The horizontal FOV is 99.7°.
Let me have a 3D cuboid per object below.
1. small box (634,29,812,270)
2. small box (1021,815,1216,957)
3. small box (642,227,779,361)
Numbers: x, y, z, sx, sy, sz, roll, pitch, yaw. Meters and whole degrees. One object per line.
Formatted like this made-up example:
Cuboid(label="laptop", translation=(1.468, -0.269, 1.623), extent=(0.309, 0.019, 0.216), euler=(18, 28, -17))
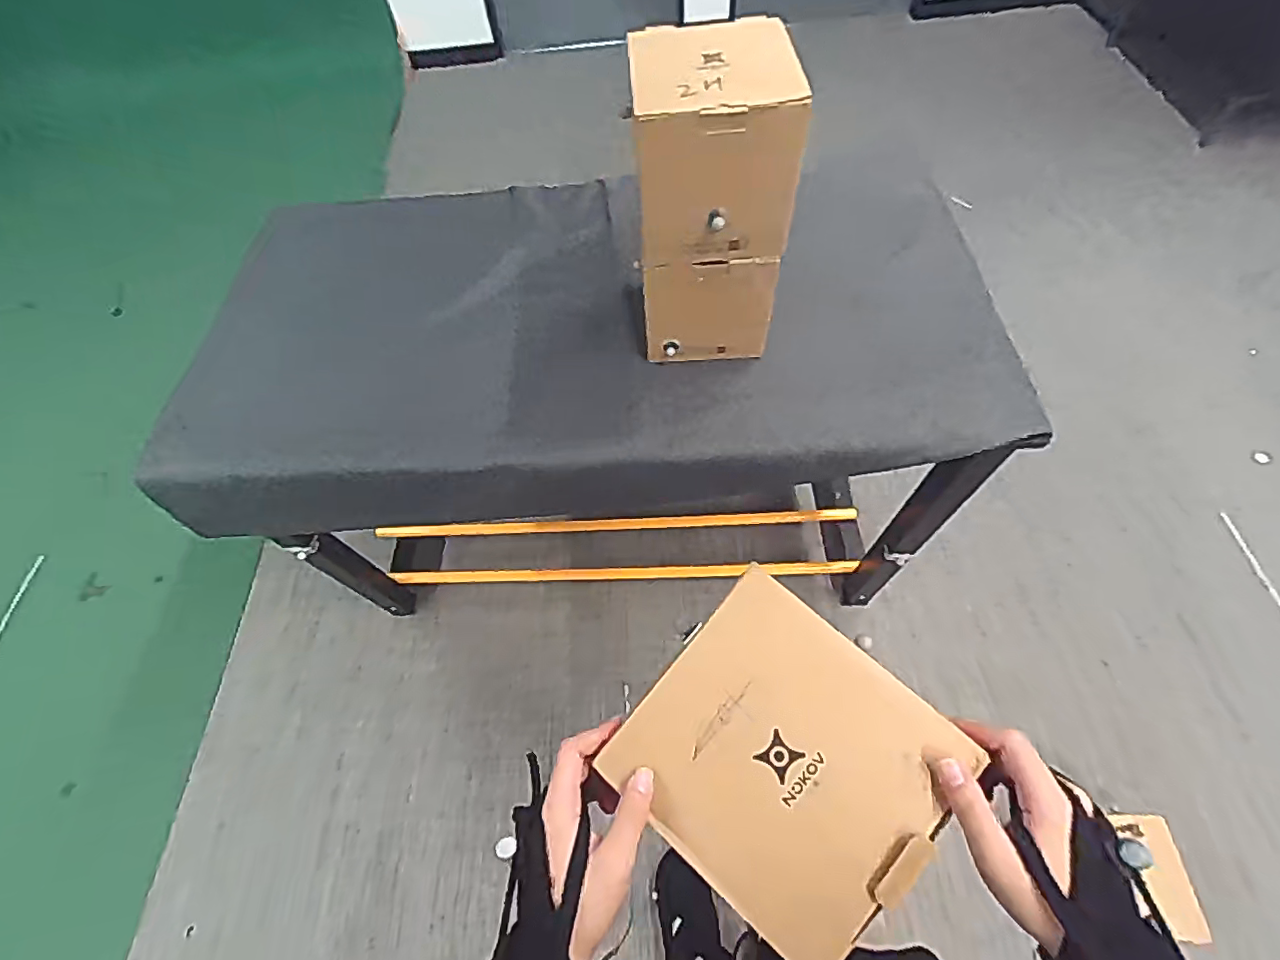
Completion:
Cuboid(label="small box", translation=(0.081, -0.367, 0.612), extent=(0.168, 0.176, 0.179), euler=(-4, 59, 3))
Cuboid(label="small box", translation=(0.825, 0.705, 0.957), extent=(0.168, 0.176, 0.179), euler=(-1, 61, 4))
Cuboid(label="small box", translation=(0.091, -0.280, 0.752), extent=(0.168, 0.176, 0.179), euler=(-2, 59, 3))
